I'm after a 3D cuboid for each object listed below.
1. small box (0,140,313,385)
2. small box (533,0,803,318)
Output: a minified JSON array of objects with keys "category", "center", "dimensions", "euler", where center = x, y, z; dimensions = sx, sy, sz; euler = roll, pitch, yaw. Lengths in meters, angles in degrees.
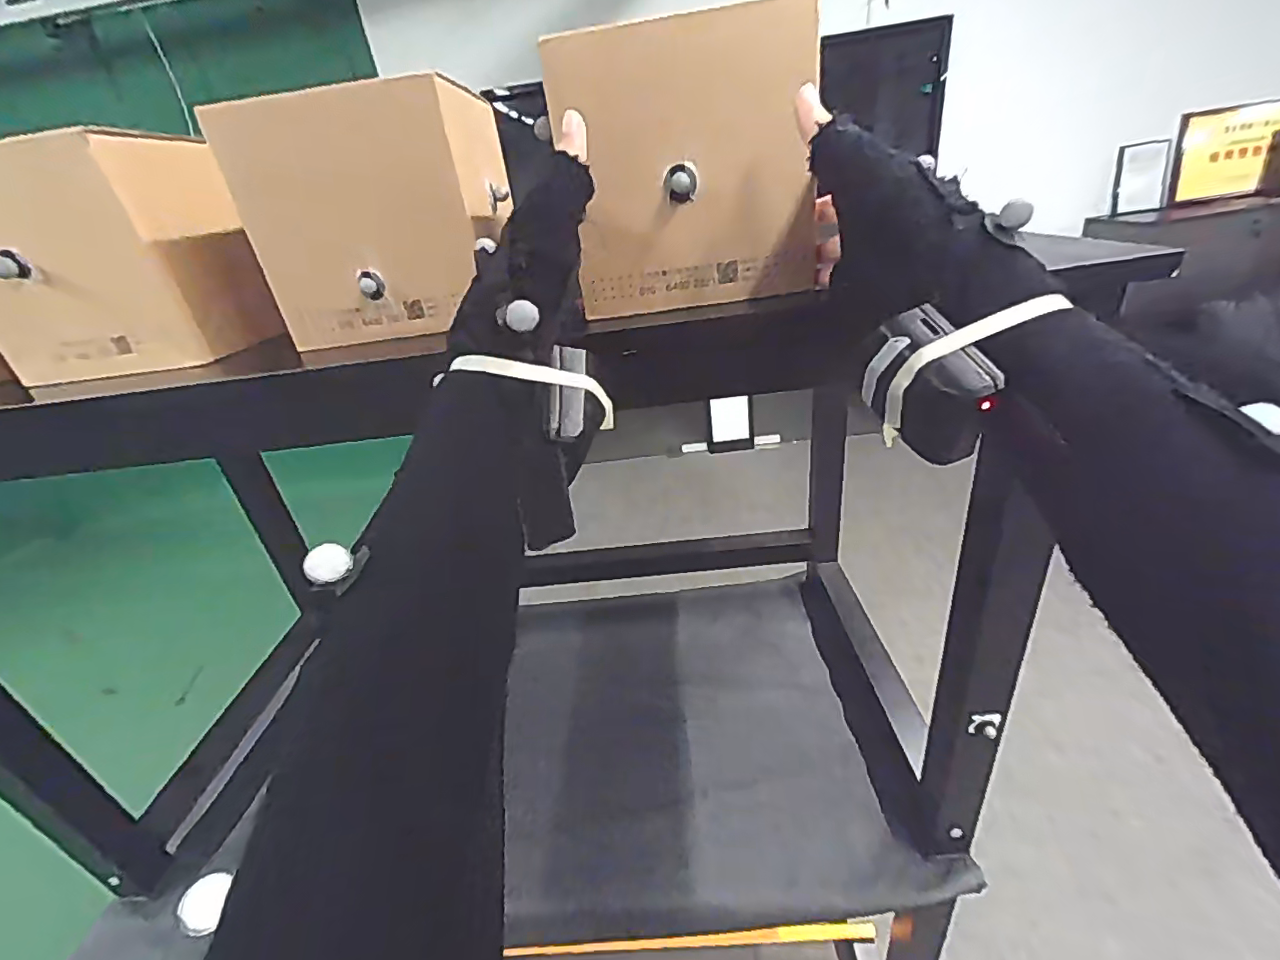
[{"category":"small box","center":[-0.441,-0.190,0.489],"dimensions":[0.168,0.176,0.179],"euler":[-6,28,6]},{"category":"small box","center":[0.029,-0.231,0.425],"dimensions":[0.168,0.176,0.179],"euler":[-6,28,5]}]
